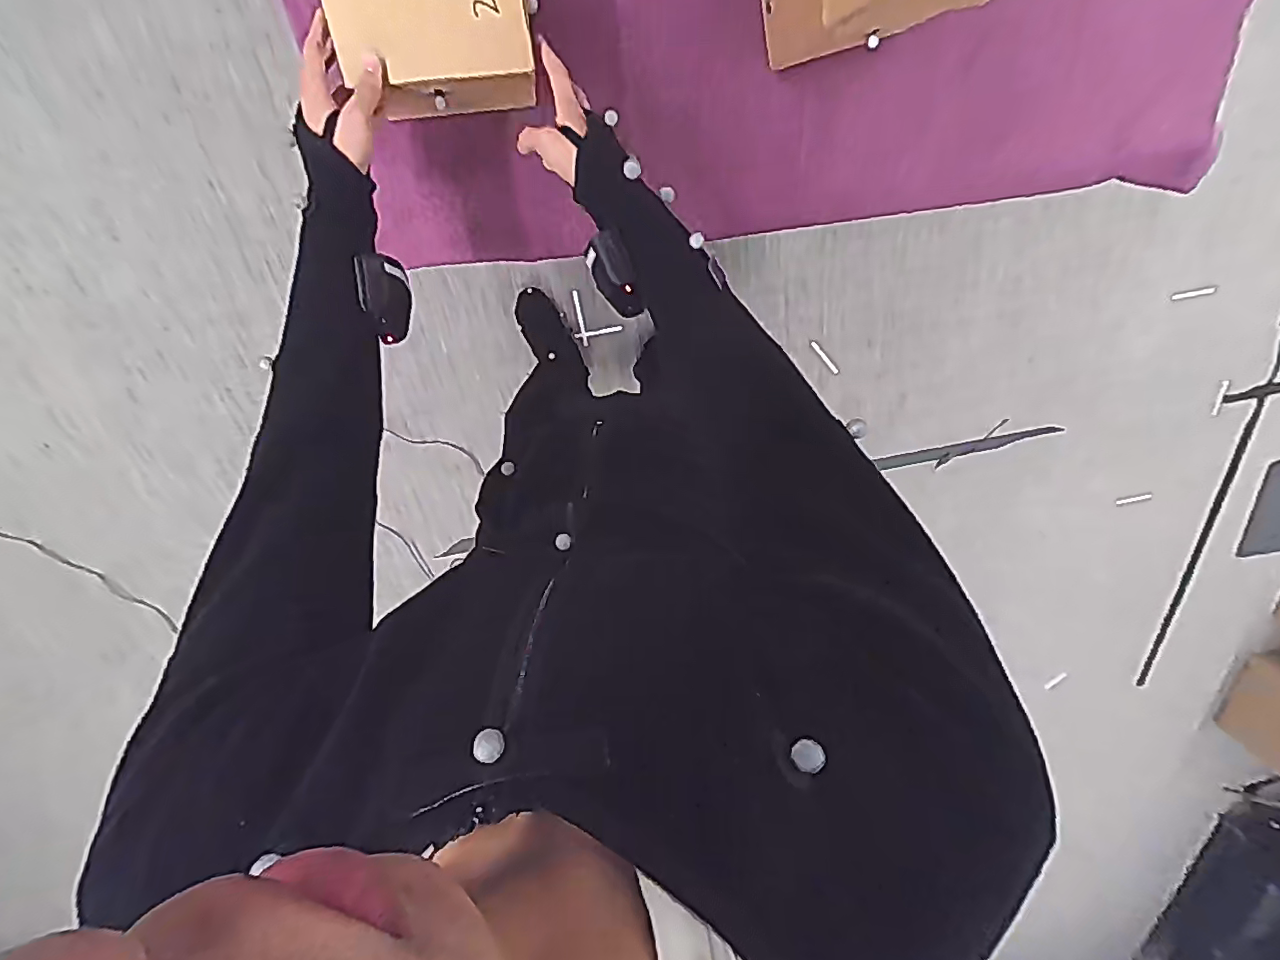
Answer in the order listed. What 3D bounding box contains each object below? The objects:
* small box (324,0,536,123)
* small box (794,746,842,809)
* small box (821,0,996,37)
[{"bbox_3d":[-0.203,-0.472,0.541,0.179,0.176,0.168,-10,116,-7],"label":"small box"},{"bbox_3d":[0.831,1.377,2.511,0.168,0.176,0.179,-17,118,-3],"label":"small box"},{"bbox_3d":[0.261,-0.494,0.438,0.179,0.176,0.168,-14,118,-4],"label":"small box"}]
